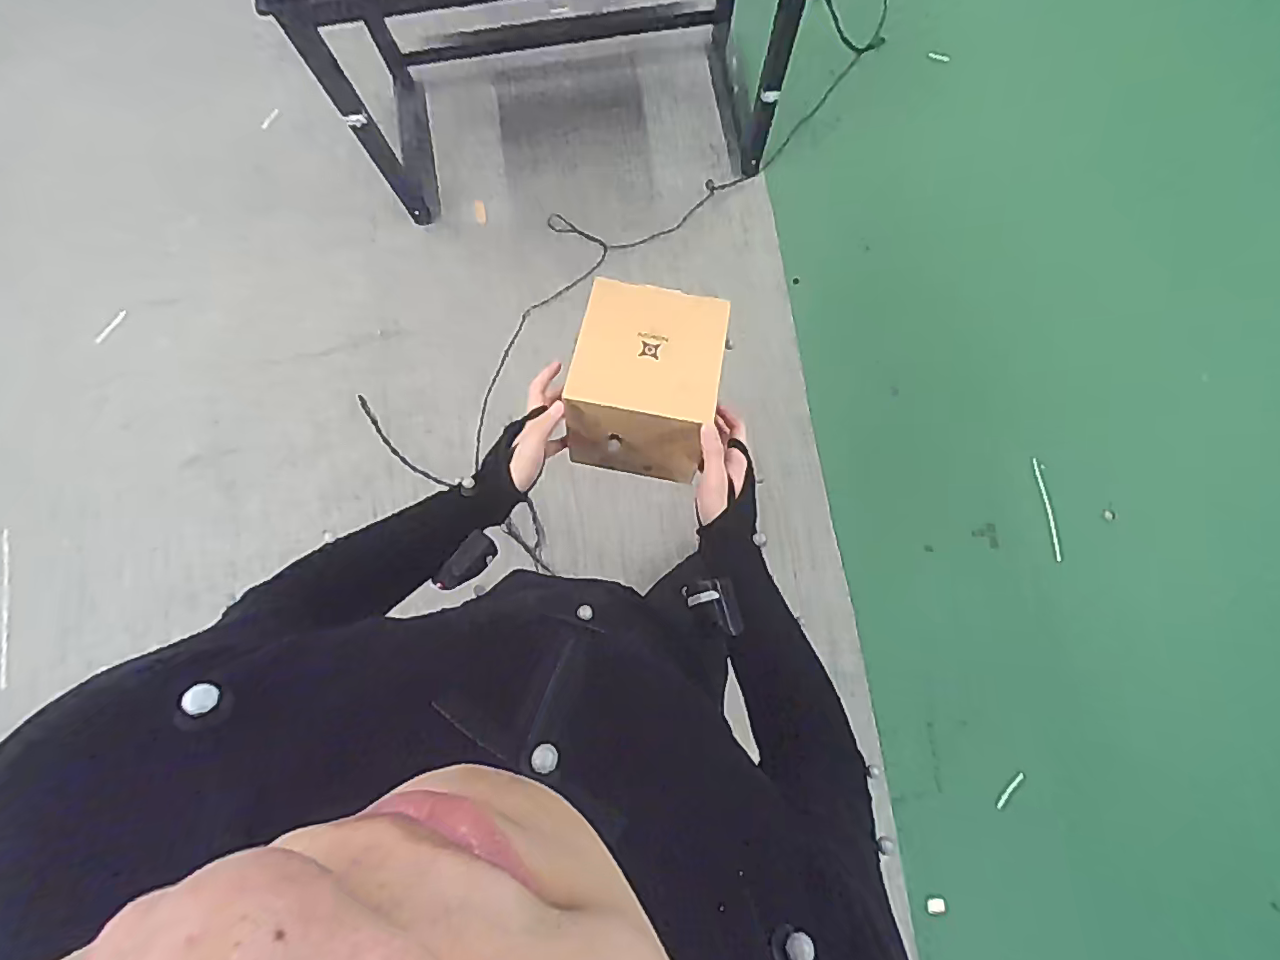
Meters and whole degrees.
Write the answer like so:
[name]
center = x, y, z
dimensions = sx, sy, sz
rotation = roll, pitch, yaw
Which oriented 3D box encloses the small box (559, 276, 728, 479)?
[small box]
center = 0.005, -0.119, 0.679
dimensions = 0.168, 0.176, 0.179
rotation = 11, 66, 1
